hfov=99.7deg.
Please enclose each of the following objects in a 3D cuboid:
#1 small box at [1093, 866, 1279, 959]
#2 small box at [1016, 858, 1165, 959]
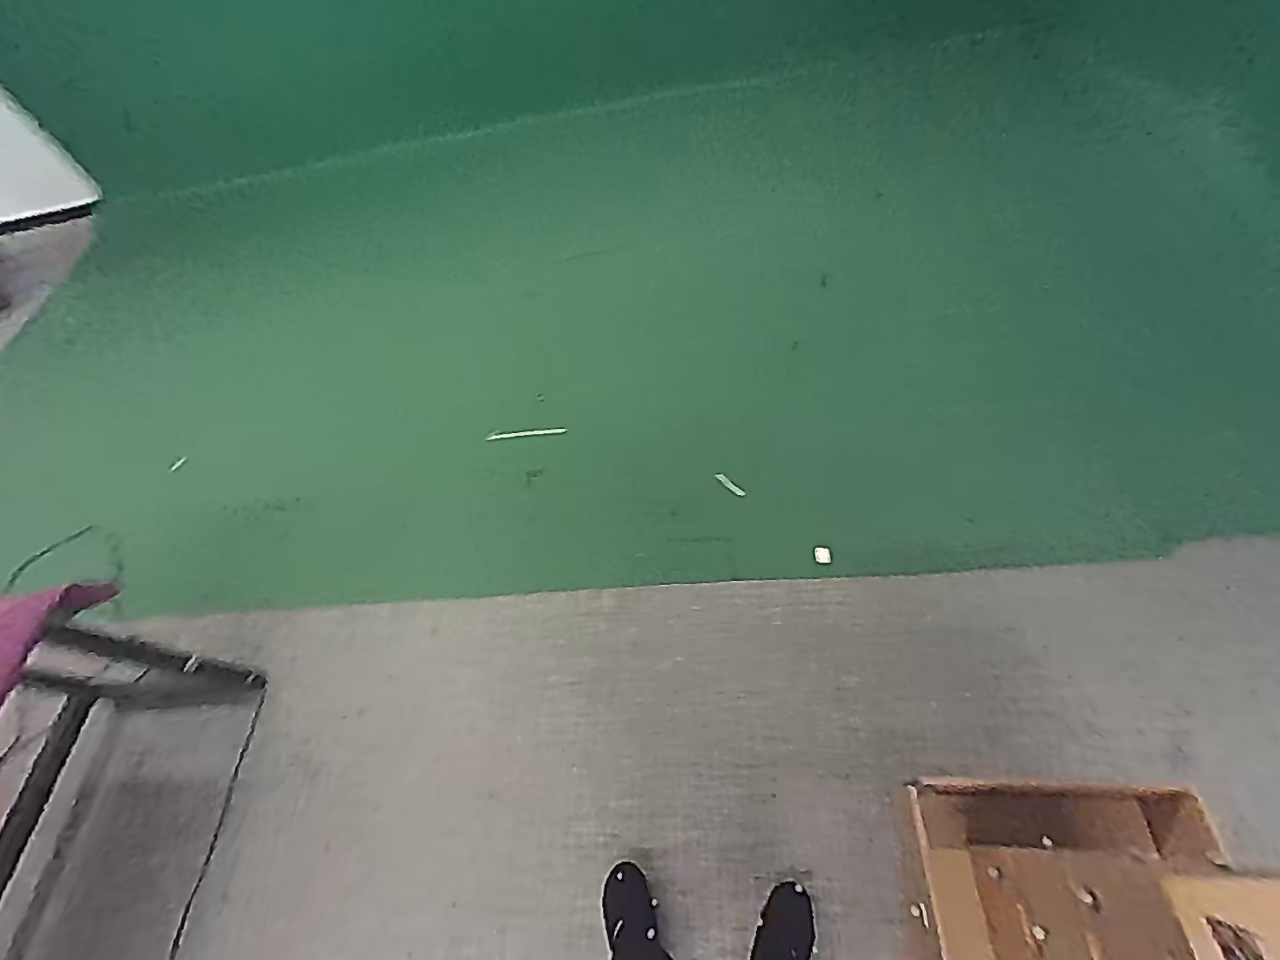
[{"bbox_3d":[0.571,0.466,0.498,0.179,0.176,0.168,-4,59,8],"label":"small box"},{"bbox_3d":[0.592,0.554,0.636,0.179,0.176,0.168,-3,59,9],"label":"small box"}]
